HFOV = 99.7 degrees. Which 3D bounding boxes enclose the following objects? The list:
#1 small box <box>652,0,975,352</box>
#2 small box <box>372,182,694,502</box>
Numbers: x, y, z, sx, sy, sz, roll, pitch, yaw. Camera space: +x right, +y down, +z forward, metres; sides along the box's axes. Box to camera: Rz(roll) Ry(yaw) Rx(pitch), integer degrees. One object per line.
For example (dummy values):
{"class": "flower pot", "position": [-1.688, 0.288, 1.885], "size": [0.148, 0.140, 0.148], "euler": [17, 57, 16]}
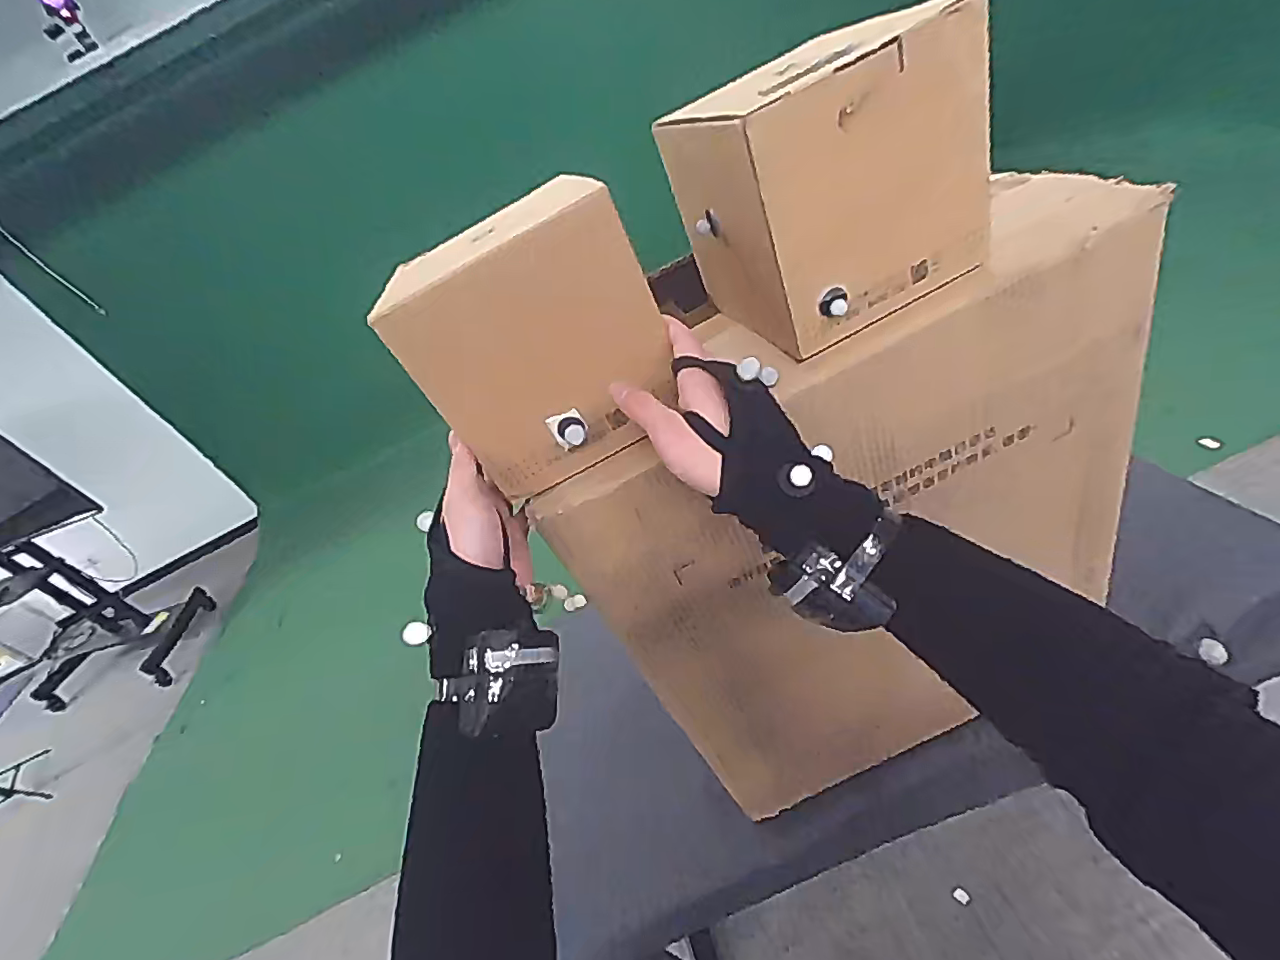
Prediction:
{"class": "small box", "position": [0.134, -0.224, 0.429], "size": [0.168, 0.176, 0.179], "euler": [-28, 35, 0]}
{"class": "small box", "position": [-0.079, -0.113, 0.438], "size": [0.168, 0.176, 0.179], "euler": [-29, 35, 1]}
